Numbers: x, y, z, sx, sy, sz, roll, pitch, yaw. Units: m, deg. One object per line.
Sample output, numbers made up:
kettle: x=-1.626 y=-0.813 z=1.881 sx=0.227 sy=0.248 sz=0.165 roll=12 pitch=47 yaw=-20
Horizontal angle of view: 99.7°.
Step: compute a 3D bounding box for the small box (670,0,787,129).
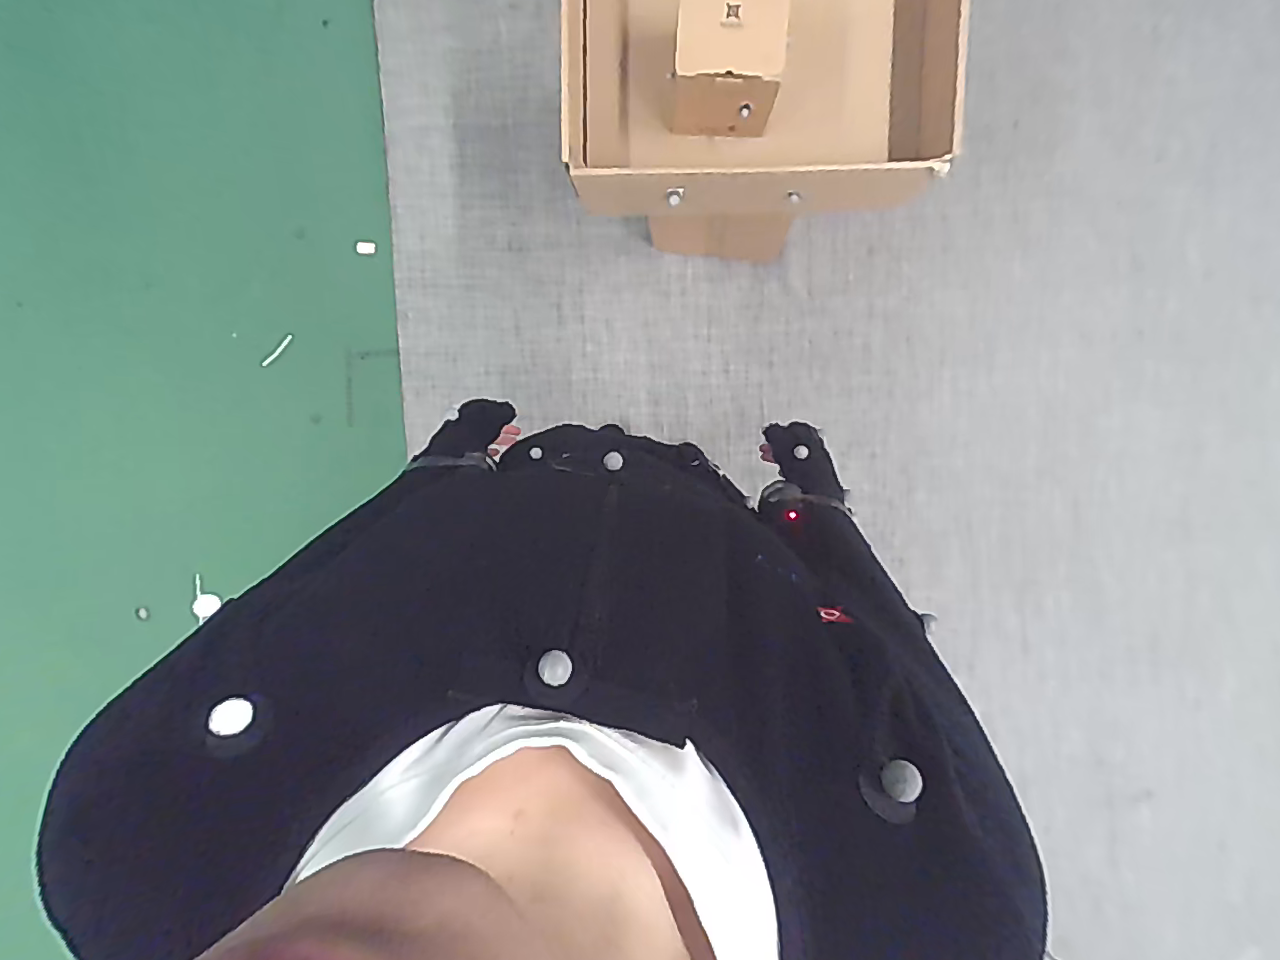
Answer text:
small box: x=0.137 y=-0.705 z=0.878 sx=0.168 sy=0.176 sz=0.179 roll=3 pitch=94 yaw=0
